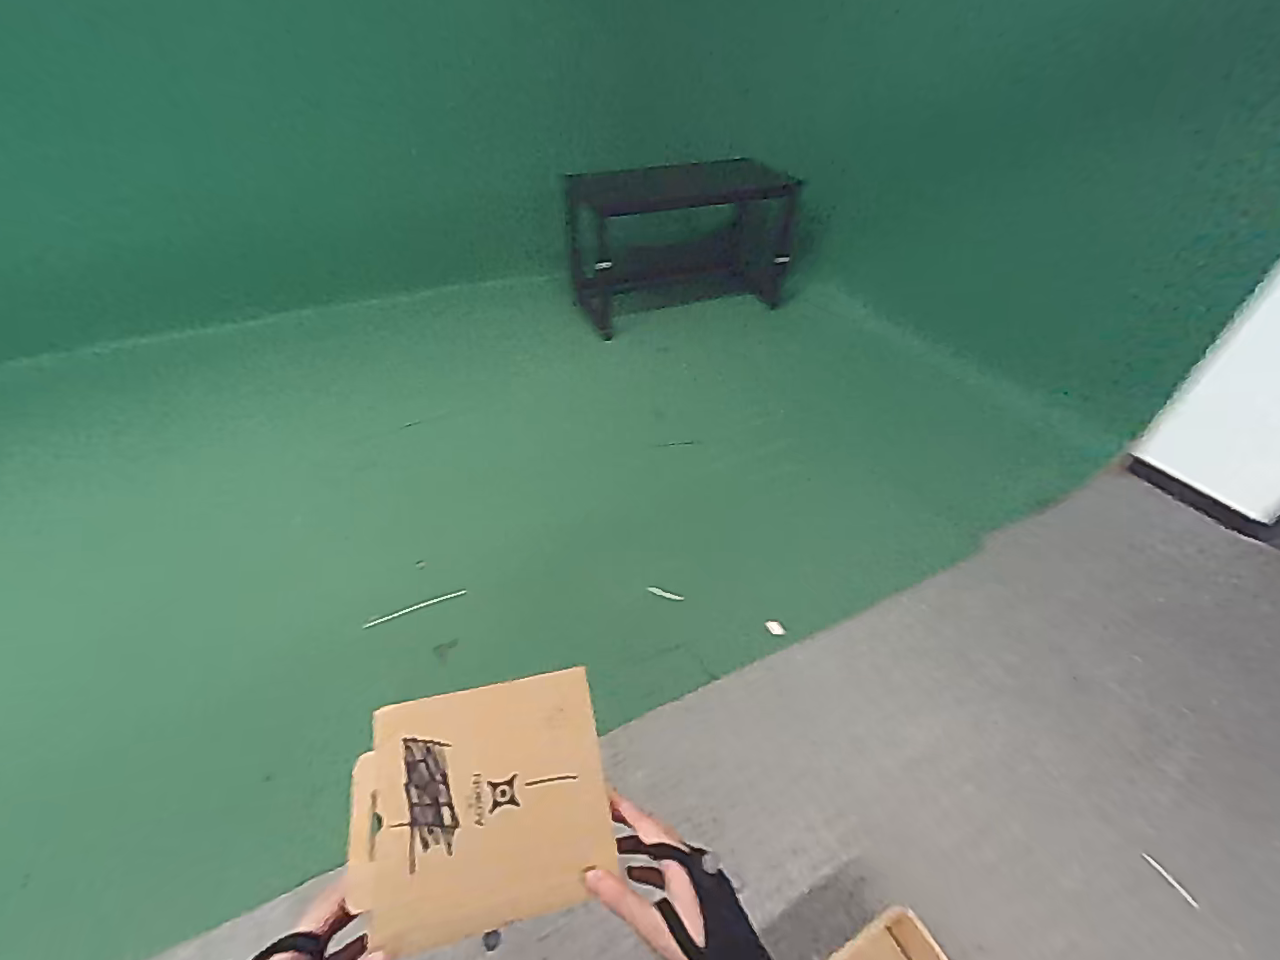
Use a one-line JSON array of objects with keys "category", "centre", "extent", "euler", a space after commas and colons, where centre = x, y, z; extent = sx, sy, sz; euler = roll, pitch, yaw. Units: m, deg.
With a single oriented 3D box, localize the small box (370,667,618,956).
[{"category": "small box", "centre": [-0.122, 0.292, 0.489], "extent": [0.179, 0.176, 0.168], "euler": [-9, 56, -12]}]
